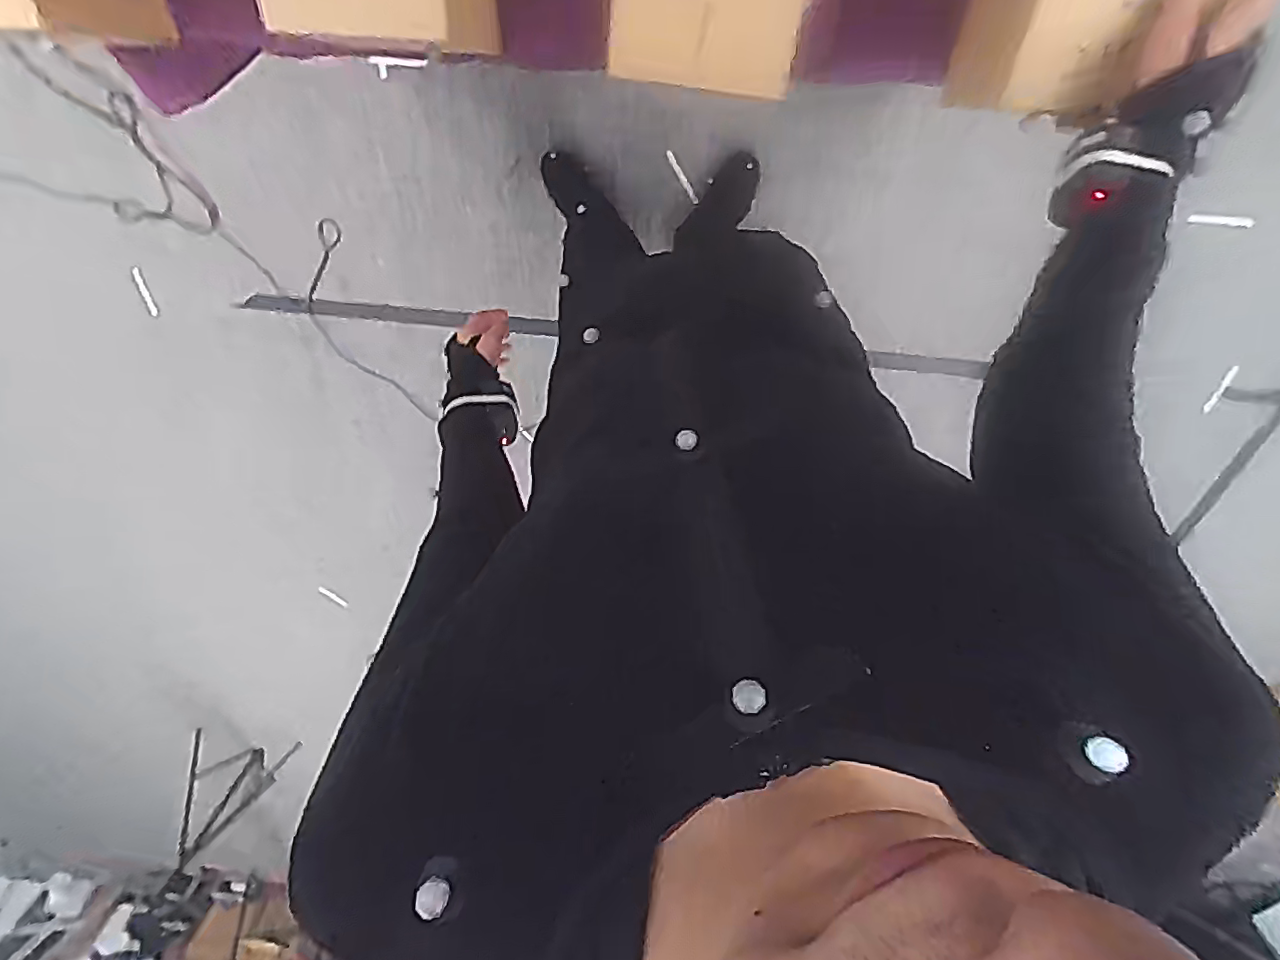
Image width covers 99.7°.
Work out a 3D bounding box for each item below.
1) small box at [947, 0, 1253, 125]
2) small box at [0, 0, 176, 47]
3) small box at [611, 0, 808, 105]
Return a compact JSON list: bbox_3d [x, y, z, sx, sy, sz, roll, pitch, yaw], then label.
[{"bbox_3d":[0.418,-0.441,0.500,0.168,0.176,0.179,7,126,4],"label":"small box"},{"bbox_3d":[-0.643,-0.549,0.546,0.179,0.176,0.168,3,125,3],"label":"small box"},{"bbox_3d":[0.070,-0.476,0.517,0.168,0.176,0.179,9,126,1],"label":"small box"}]
